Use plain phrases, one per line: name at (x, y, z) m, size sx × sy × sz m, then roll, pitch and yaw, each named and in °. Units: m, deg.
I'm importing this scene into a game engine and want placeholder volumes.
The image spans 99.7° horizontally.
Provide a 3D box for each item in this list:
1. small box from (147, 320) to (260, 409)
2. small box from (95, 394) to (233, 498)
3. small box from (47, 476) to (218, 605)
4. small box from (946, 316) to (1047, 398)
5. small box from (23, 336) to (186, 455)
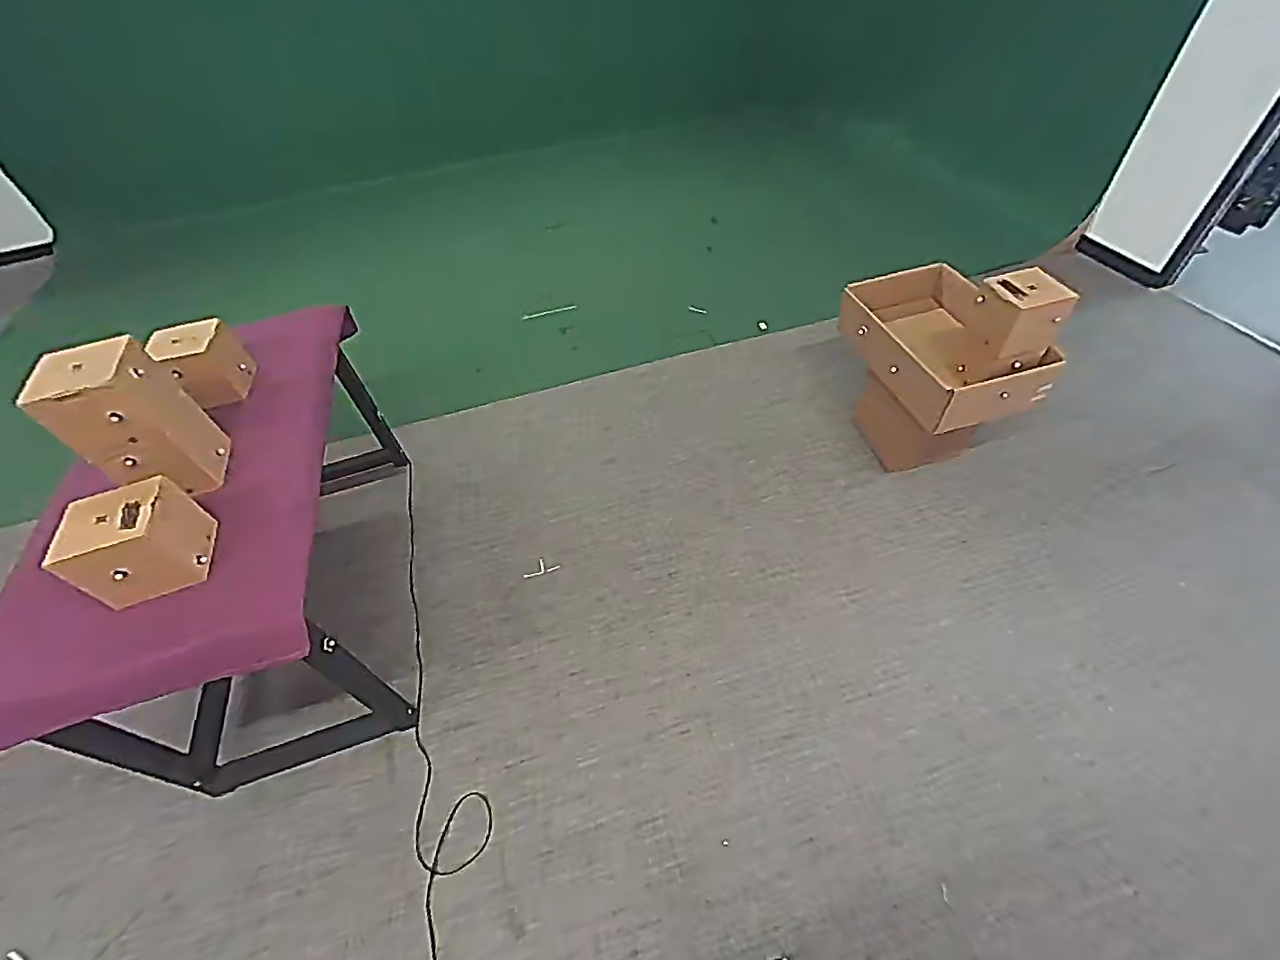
small box at (-1.210, -0.313, 1.500) m, size 0.179 × 0.176 × 0.168 m, roll -14°, pitch 50°, yaw -6°
small box at (-1.107, -0.069, 1.278) m, size 0.168 × 0.176 × 0.179 m, roll -19°, pitch 50°, yaw -9°
small box at (-1.008, 0.125, 1.098) m, size 0.179 × 0.176 × 0.168 m, roll -19°, pitch 49°, yaw -9°
small box at (1.108, -0.383, 1.696) m, size 0.179 × 0.176 × 0.168 m, roll -15°, pitch 51°, yaw -5°
small box at (-1.120, -0.173, 1.153) m, size 0.168 × 0.176 × 0.179 m, roll -18°, pitch 50°, yaw -10°
